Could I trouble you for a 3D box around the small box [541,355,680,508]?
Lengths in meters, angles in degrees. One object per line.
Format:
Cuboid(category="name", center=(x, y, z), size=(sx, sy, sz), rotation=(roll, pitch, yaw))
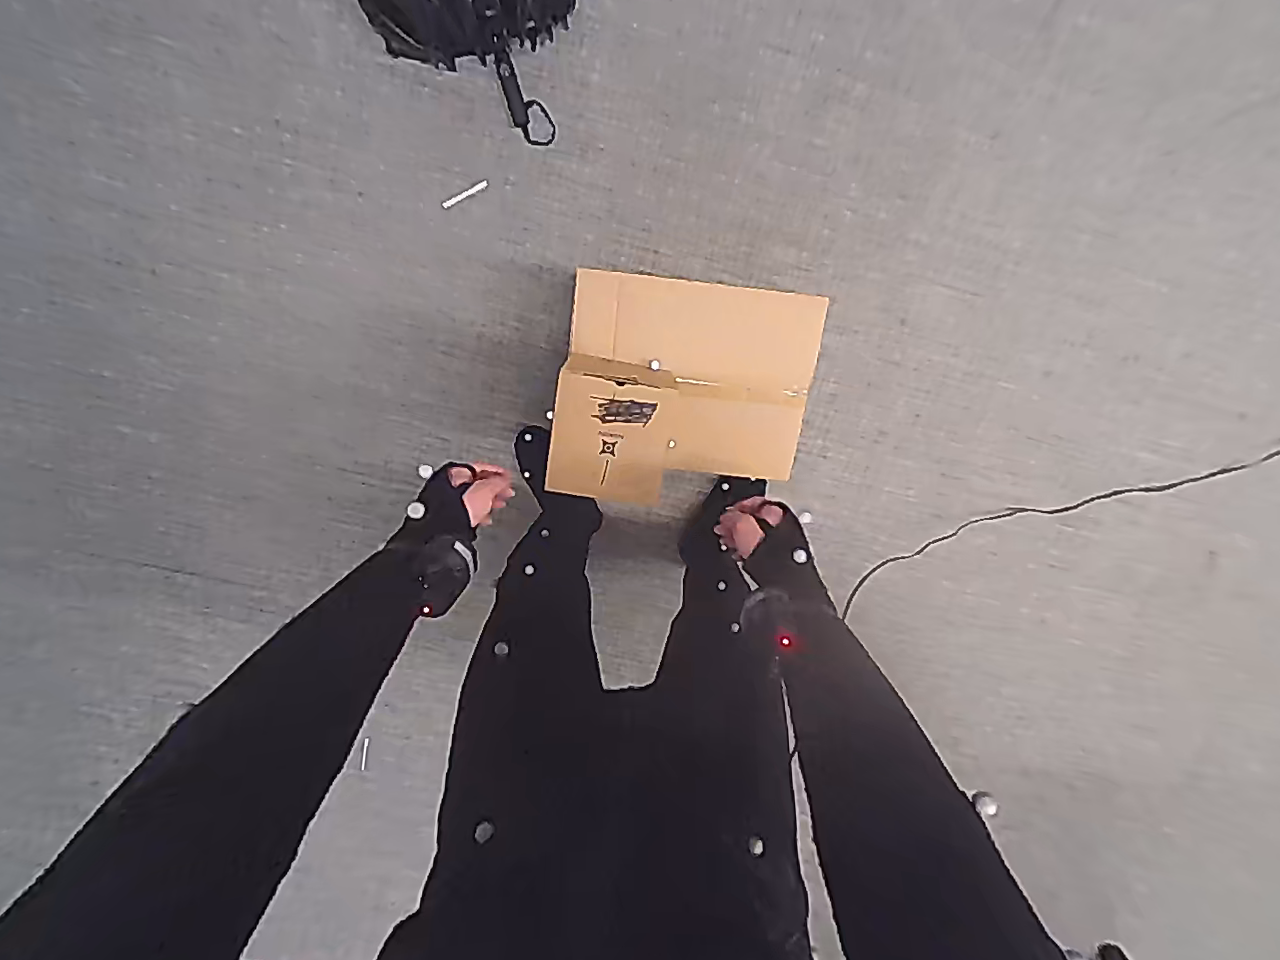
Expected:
Cuboid(category="small box", center=(-0.046, -0.081, 0.810), size=(0.168, 0.176, 0.179), rotation=(10, 110, -5))
